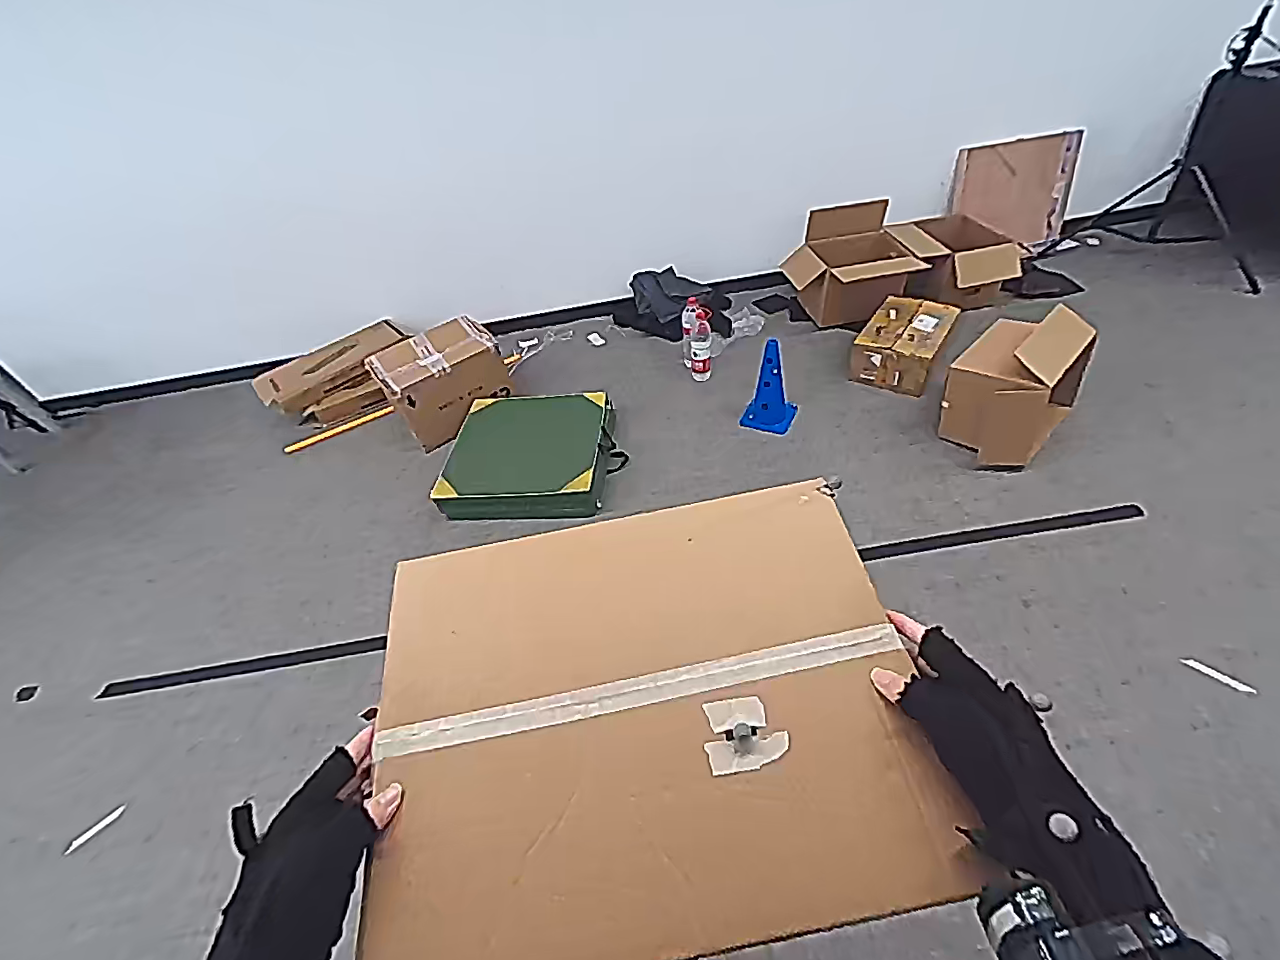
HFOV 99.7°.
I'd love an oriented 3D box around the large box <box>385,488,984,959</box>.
[{"bbox_3d":[0.019,0.254,0.550,0.408,0.320,0.320,-11,55,-1],"label":"large box"}]
